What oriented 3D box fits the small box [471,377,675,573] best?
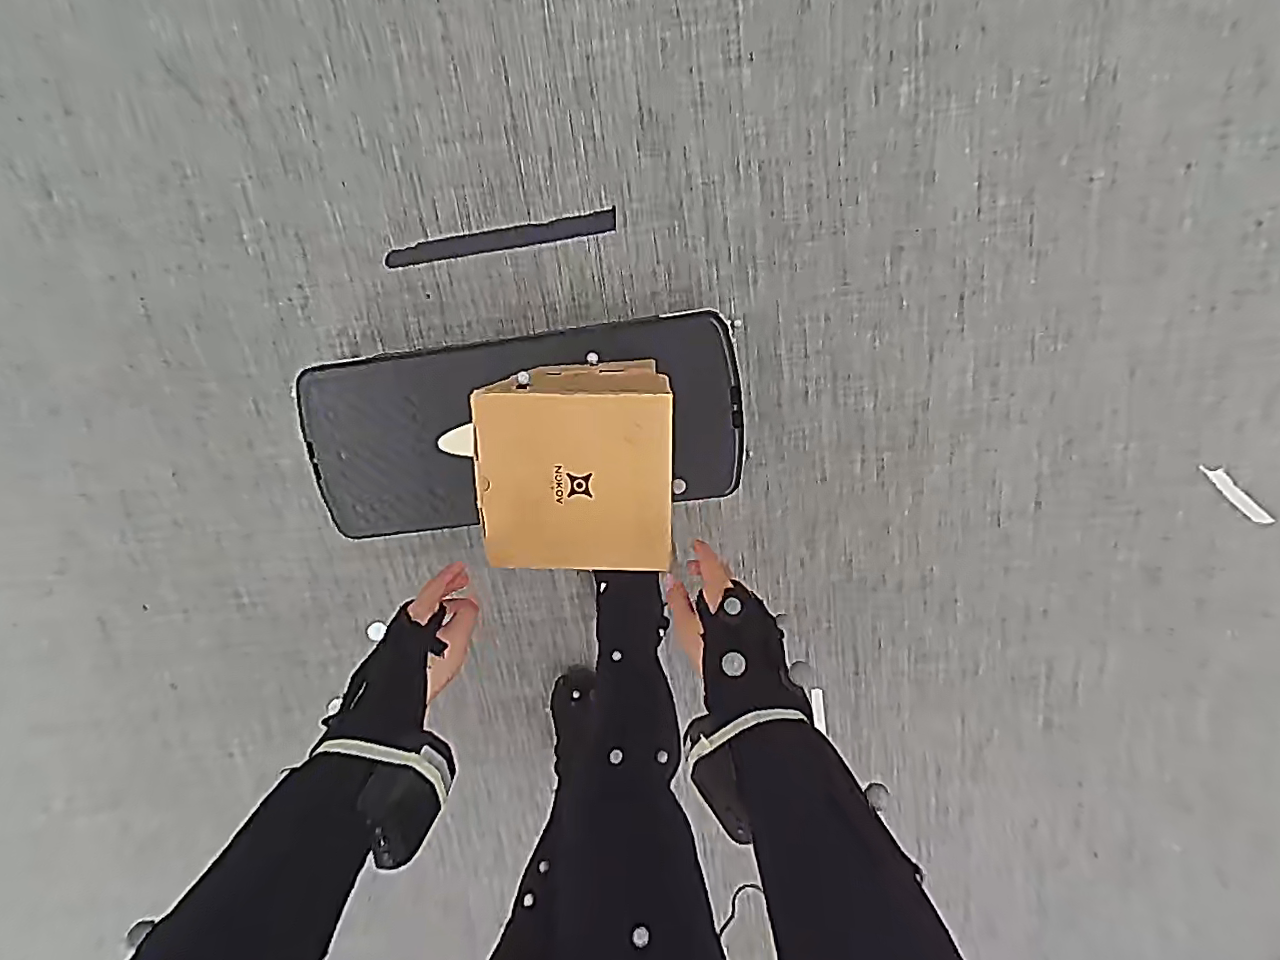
[{"bbox_3d":[-0.055,-0.016,0.555,0.179,0.176,0.168,0,106,3],"label":"small box"}]

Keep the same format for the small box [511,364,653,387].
[{"bbox_3d":[-0.060,-0.057,0.713,0.168,0.176,0.179,-3,105,2],"label":"small box"}]
